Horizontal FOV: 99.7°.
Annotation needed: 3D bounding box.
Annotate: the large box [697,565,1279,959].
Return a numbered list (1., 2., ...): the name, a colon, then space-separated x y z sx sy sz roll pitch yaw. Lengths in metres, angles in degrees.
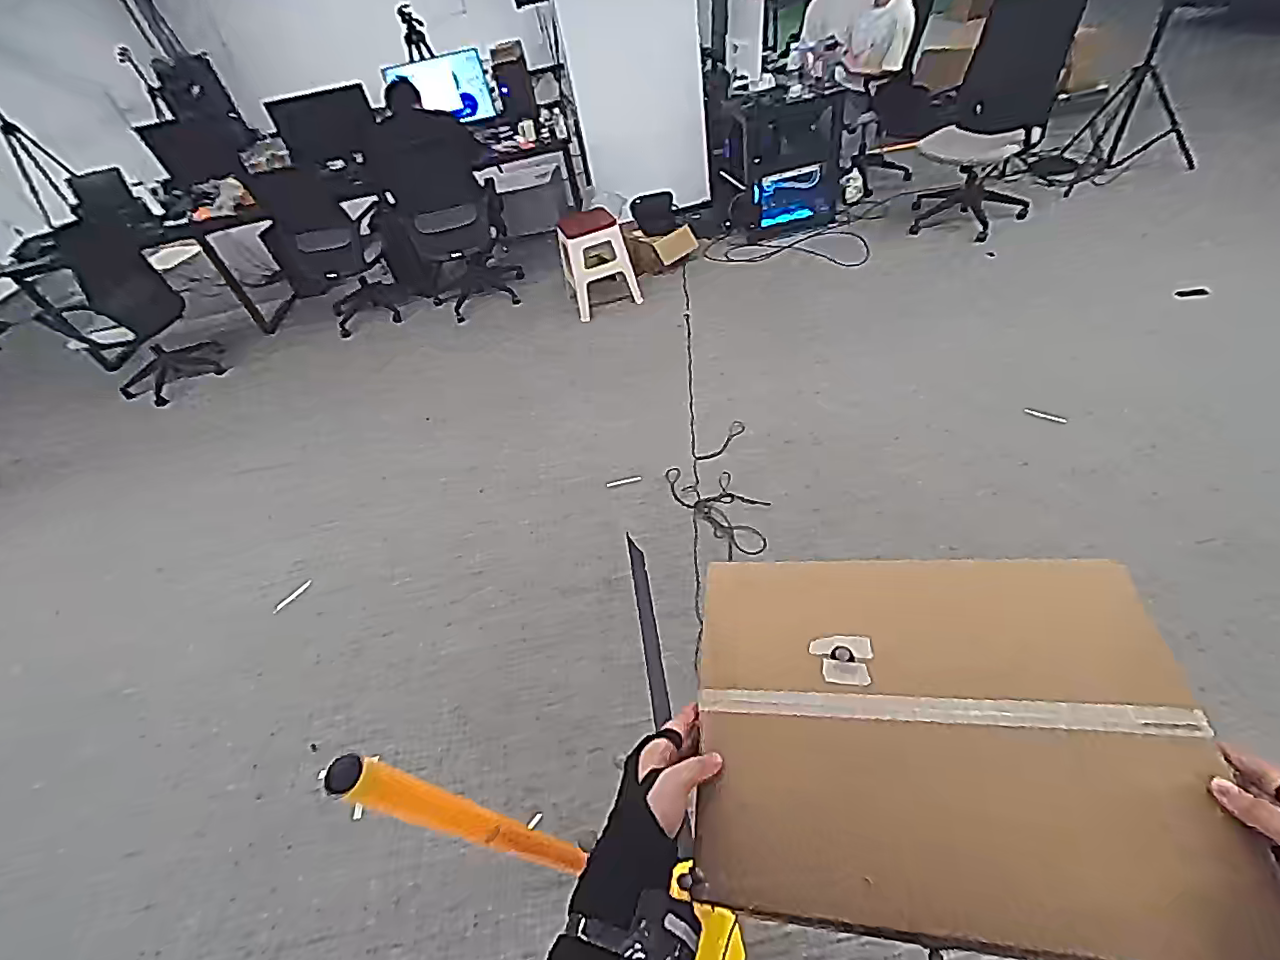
1. large box: 0.291 0.310 0.603 0.408 0.320 0.320 -3 48 15
